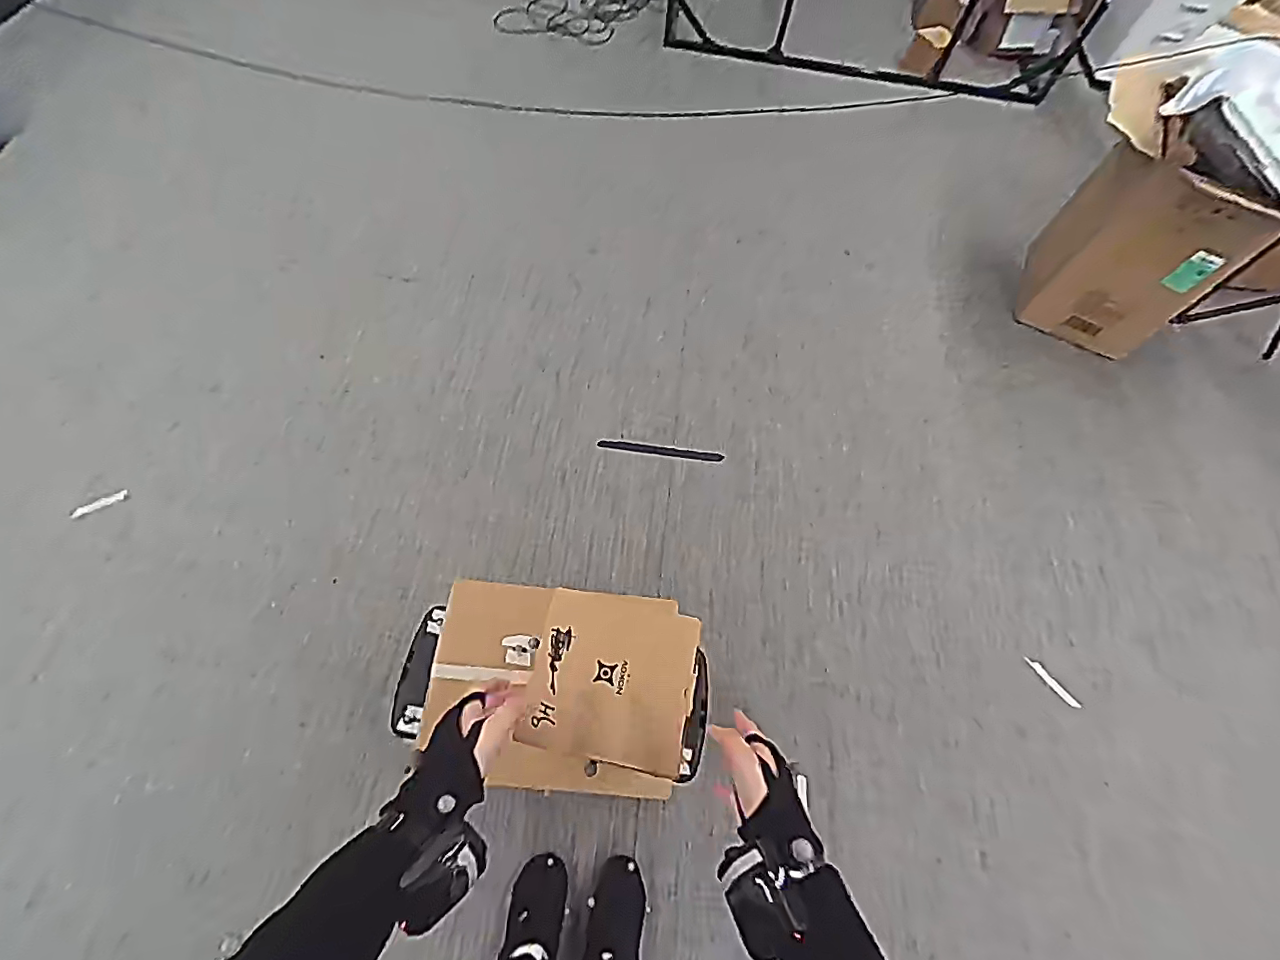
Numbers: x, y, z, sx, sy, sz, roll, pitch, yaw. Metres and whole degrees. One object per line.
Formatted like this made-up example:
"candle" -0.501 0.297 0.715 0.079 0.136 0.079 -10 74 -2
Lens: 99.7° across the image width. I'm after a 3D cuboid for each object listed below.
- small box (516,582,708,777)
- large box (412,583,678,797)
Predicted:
"small box" -0.032 0.242 0.648 0.179 0.176 0.168 14 61 1
"large box" -0.145 0.399 1.019 0.408 0.320 0.320 5 61 -1
